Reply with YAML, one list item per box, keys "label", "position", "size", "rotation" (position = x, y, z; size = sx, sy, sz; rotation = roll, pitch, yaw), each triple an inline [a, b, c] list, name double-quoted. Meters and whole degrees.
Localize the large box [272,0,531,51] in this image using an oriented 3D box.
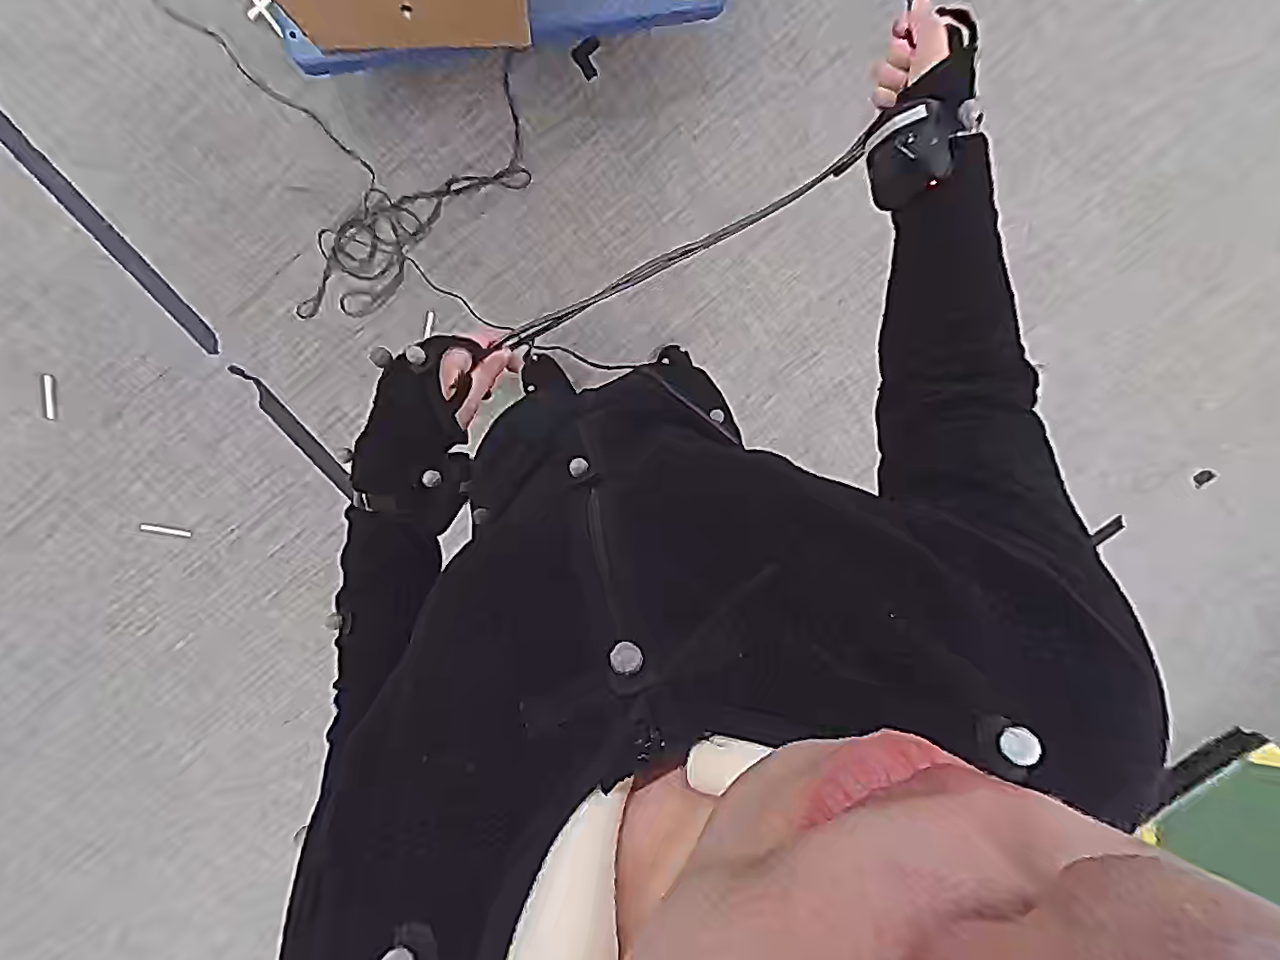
- label: "large box"
  position: [-0.407, -0.937, 0.858]
  size: [0.408, 0.320, 0.320]
  rotation: [-6, 105, -4]
